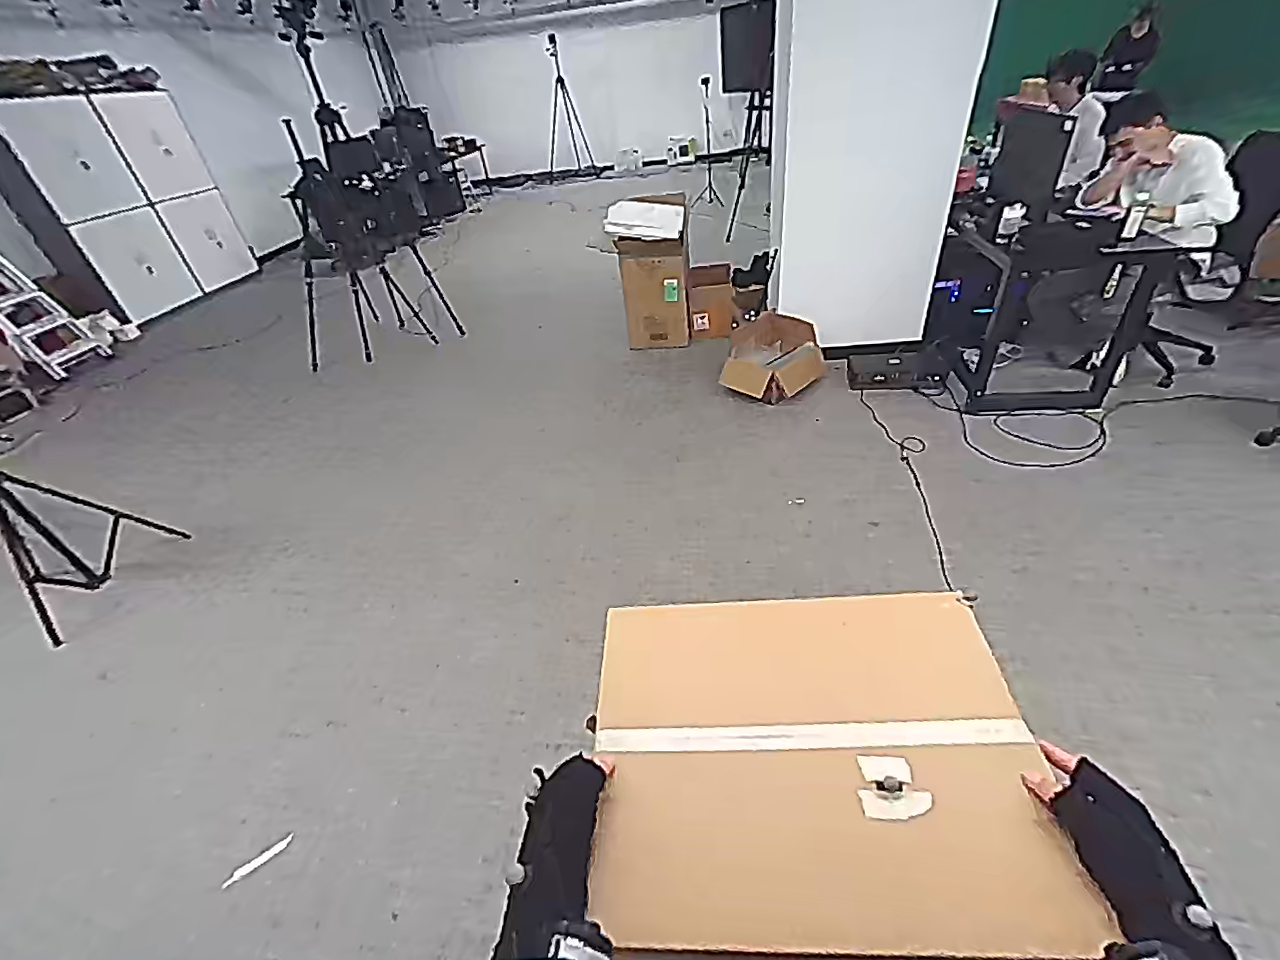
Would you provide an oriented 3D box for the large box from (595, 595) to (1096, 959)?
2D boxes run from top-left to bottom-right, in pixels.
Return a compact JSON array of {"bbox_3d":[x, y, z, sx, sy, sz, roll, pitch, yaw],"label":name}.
[{"bbox_3d":[0.178,0.361,0.642,0.408,0.320,0.320,-4,44,7],"label":"large box"}]
